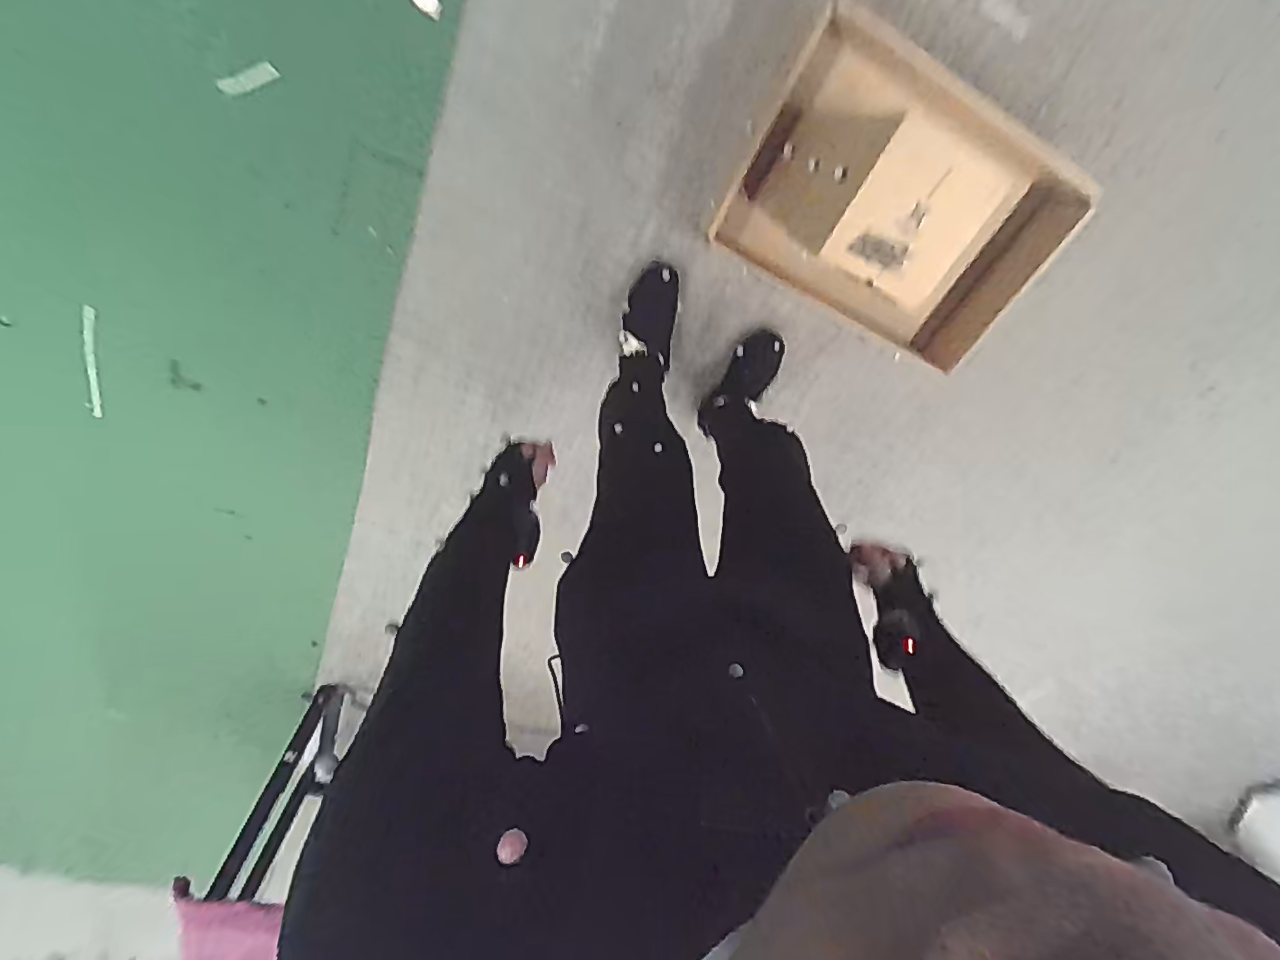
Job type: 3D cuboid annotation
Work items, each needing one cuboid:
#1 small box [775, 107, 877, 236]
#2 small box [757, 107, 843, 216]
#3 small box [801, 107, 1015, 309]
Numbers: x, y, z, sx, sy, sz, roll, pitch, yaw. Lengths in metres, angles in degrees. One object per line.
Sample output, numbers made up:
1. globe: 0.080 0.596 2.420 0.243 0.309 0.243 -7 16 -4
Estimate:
1. small box: 0.340 -0.460 0.867 0.168 0.176 0.179 24 120 -16
2. small box: 0.339 -0.553 1.001 0.168 0.176 0.179 24 120 -16
3. small box: 0.340 -0.367 0.732 0.168 0.176 0.179 22 120 -15
